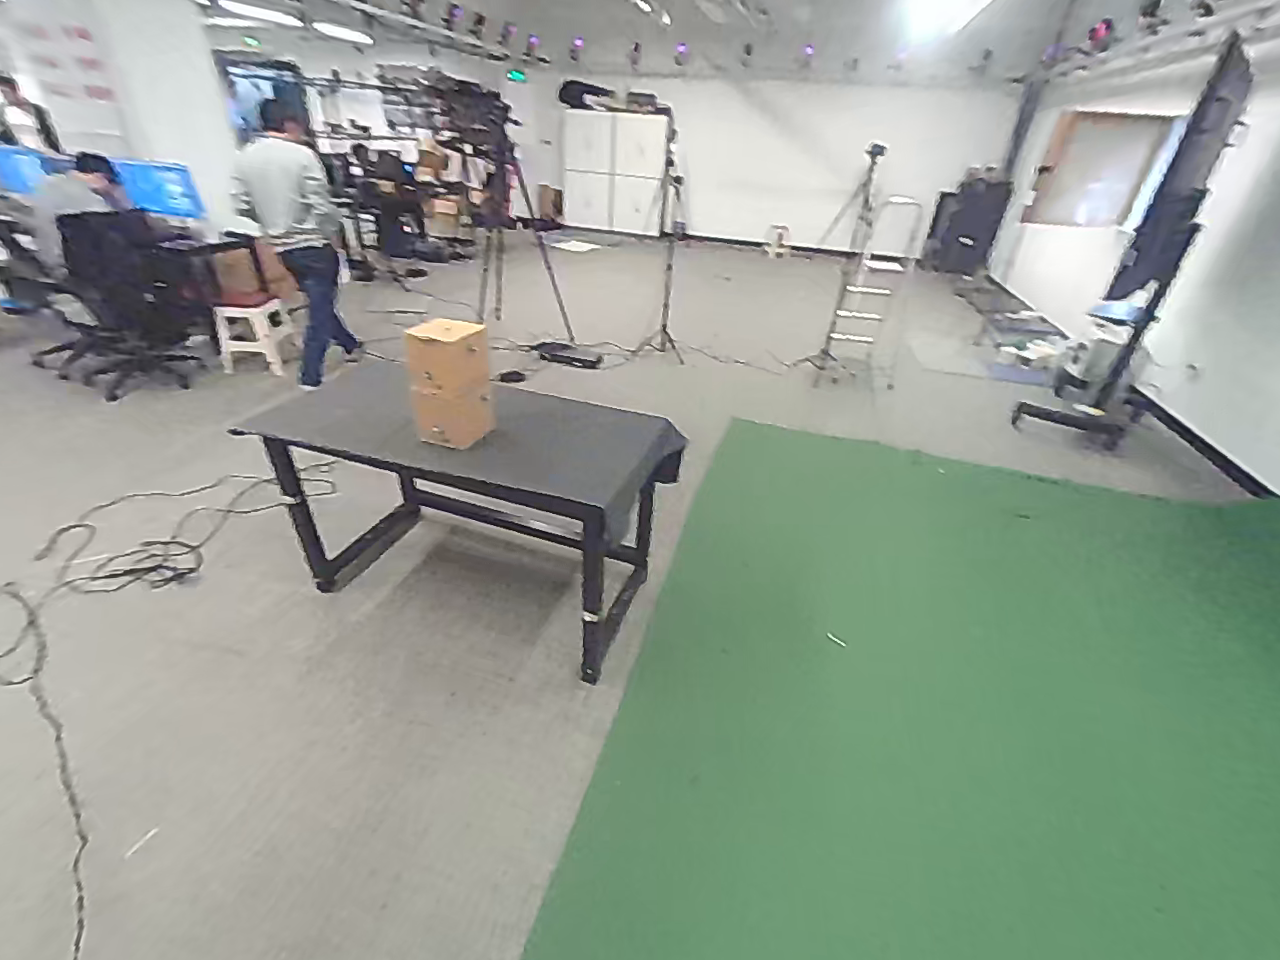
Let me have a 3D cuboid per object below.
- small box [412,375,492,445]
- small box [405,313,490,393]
[{"bbox_3d":[-0.567,-0.229,1.655,0.168,0.176,0.179,13,33,14],"label":"small box"},{"bbox_3d":[-0.553,-0.369,1.574,0.168,0.176,0.179,14,33,13],"label":"small box"}]
